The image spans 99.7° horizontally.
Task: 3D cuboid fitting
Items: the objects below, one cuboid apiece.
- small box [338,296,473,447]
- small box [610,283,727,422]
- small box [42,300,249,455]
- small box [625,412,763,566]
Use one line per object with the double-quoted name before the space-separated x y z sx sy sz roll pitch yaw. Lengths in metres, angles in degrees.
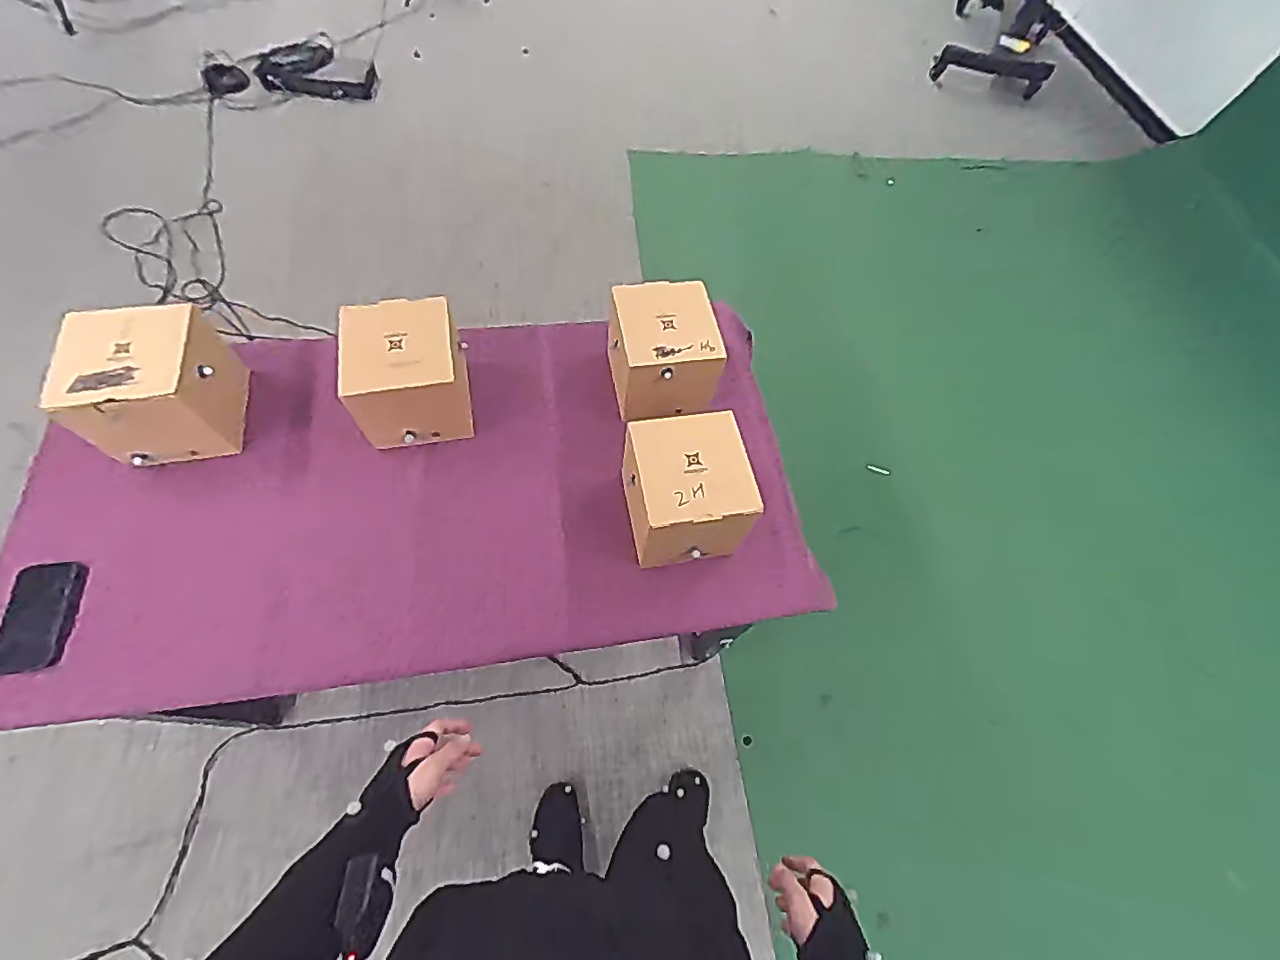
"small box" -0.380 -0.177 0.900 0.168 0.176 0.179 -9 65 -10
"small box" 0.040 -0.226 0.972 0.168 0.176 0.179 -7 64 -9
"small box" -0.746 -0.151 0.842 0.168 0.176 0.179 -8 64 -11
"small box" 0.071 0.017 0.847 0.168 0.176 0.179 -7 62 -8
